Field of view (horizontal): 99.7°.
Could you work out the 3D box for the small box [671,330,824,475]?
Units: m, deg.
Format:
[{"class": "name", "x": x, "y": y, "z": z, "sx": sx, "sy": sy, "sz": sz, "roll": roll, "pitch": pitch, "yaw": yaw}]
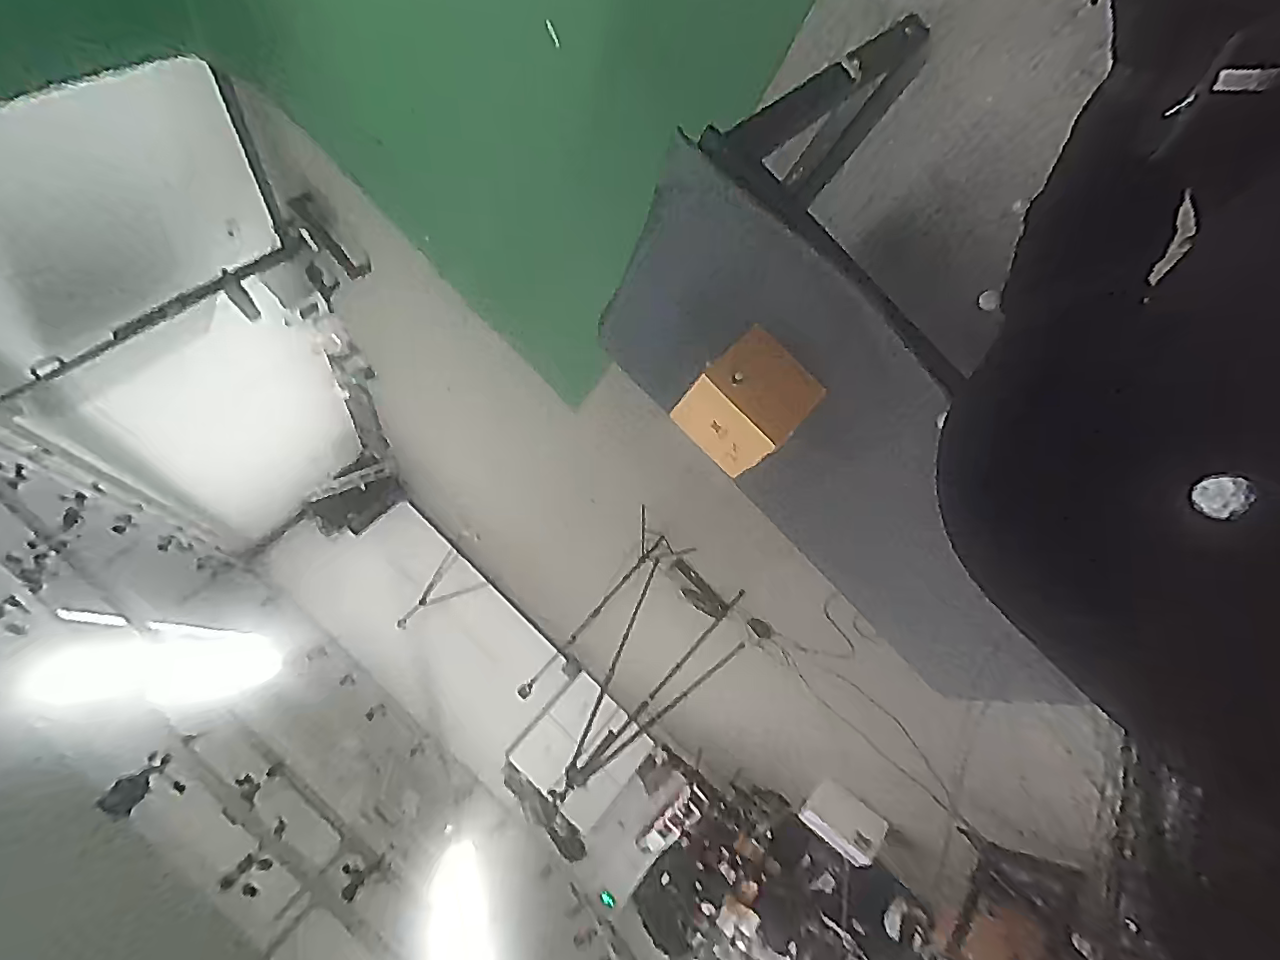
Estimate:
[{"class": "small box", "x": 0.193, "y": -0.145, "z": 0.983, "sx": 0.179, "sy": 0.176, "sz": 0.168, "roll": 44, "pitch": 154, "yaw": 0}]
